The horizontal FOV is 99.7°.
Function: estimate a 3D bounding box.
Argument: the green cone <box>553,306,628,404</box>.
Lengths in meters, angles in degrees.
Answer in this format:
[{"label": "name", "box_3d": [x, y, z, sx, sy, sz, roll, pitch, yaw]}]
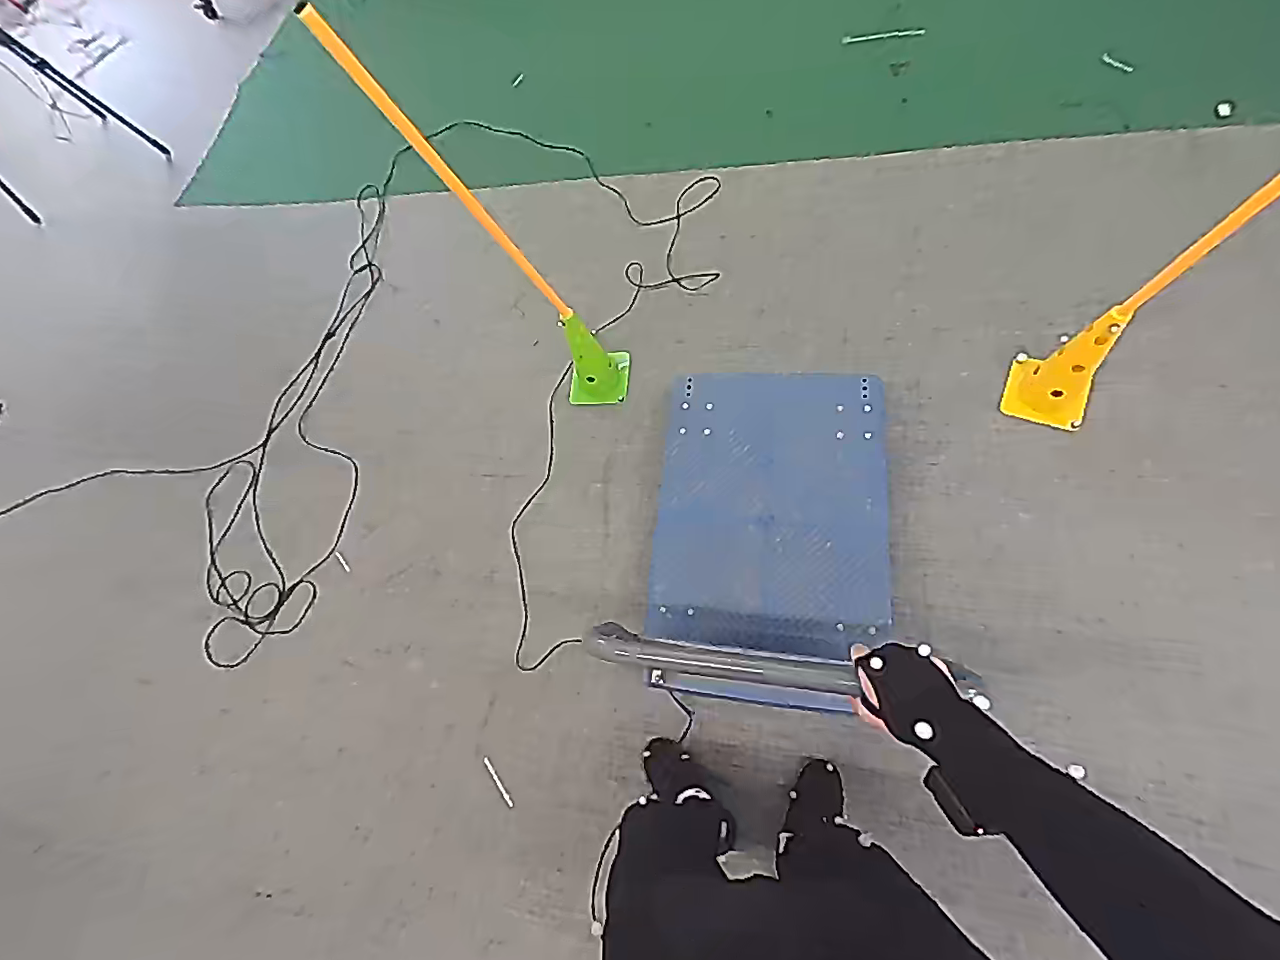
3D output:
[{"label": "green cone", "box_3d": [-0.181, -0.414, 1.688, 0.202, 0.368, 0.200, -1, 68, 14]}]
